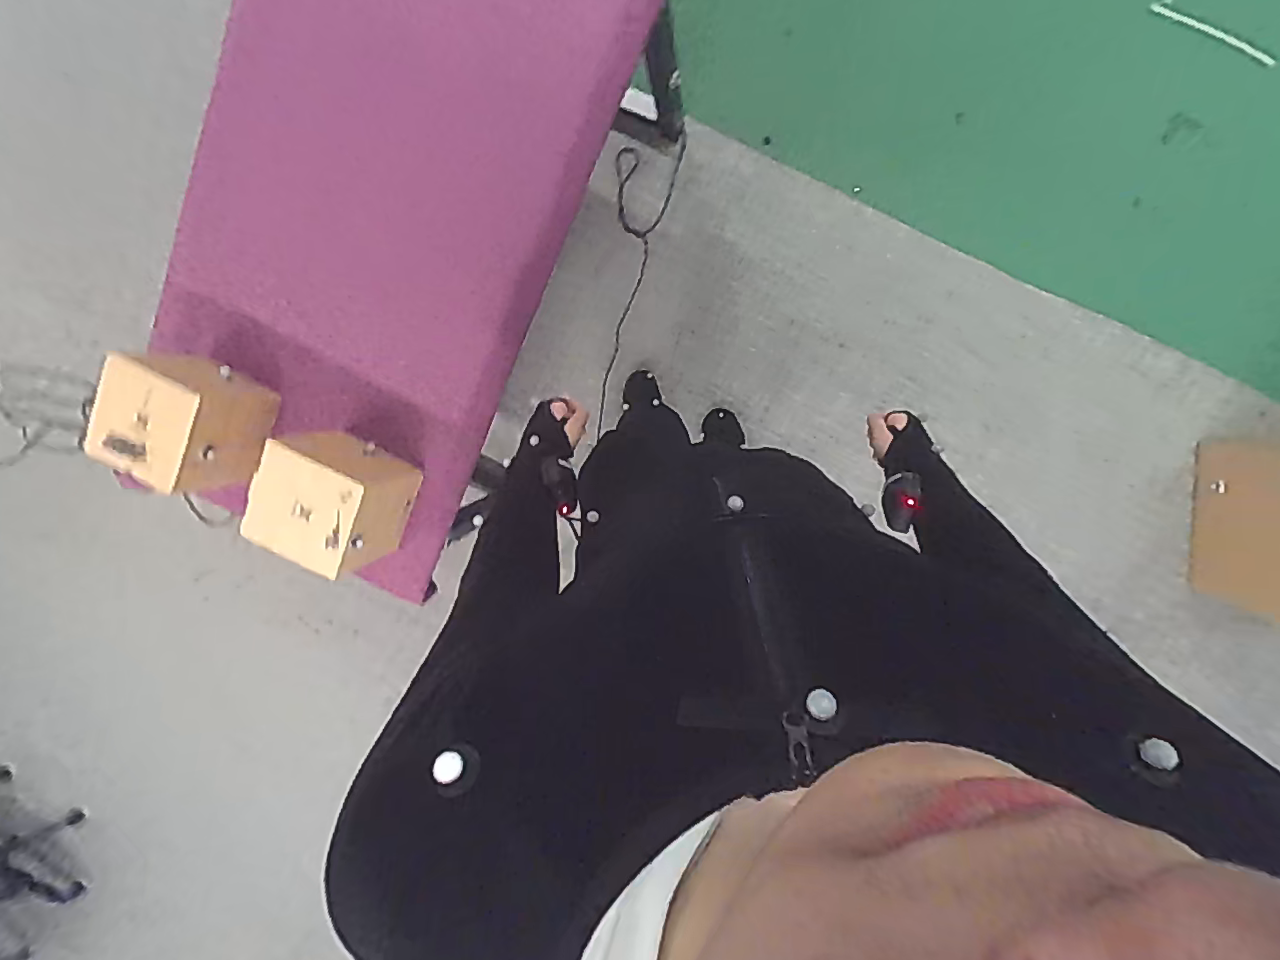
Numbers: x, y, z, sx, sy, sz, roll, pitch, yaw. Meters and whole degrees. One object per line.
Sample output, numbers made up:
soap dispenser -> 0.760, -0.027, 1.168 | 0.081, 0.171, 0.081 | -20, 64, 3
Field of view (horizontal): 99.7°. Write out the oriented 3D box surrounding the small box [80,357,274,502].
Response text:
small box -> -0.765, -0.088, 0.911 | 0.168, 0.176, 0.179 | 26, 101, 2

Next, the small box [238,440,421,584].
small box -> -0.505, 0.041, 0.898 | 0.179, 0.176, 0.168 | 25, 102, 4
